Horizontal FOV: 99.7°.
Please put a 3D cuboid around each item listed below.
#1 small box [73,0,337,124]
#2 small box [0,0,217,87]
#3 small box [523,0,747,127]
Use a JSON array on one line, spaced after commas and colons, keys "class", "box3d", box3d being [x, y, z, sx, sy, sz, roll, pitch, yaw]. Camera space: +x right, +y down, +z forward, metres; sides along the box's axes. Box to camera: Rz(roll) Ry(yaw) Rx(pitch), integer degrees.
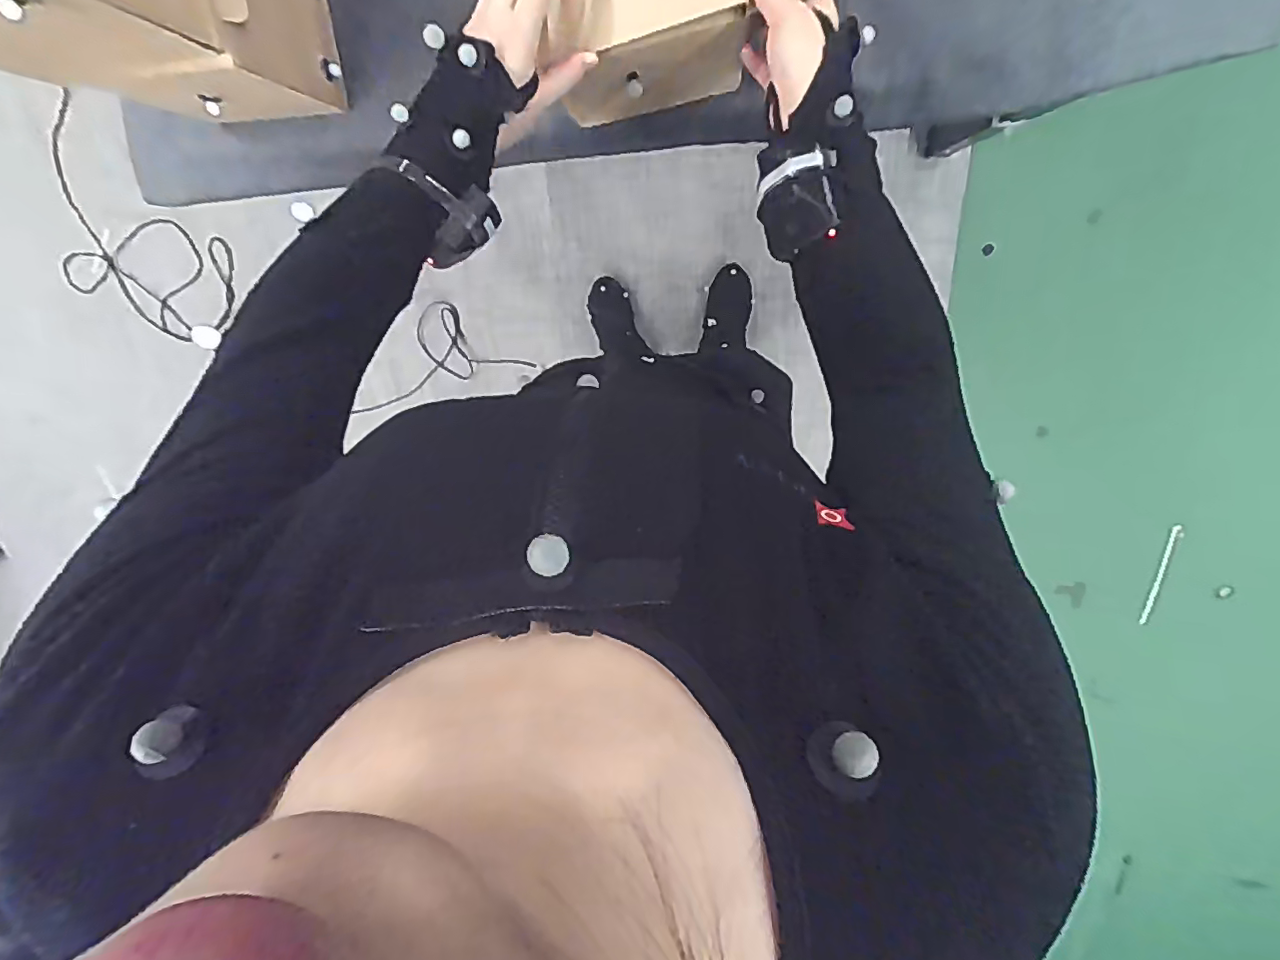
[{"class": "small box", "box3d": [-0.430, -0.465, 0.527, 0.179, 0.176, 0.168, 1, 112, 7]}, {"class": "small box", "box3d": [-0.463, -0.406, 0.379, 0.179, 0.176, 0.168, -4, 112, 8]}, {"class": "small box", "box3d": [-0.003, -0.445, 0.484, 0.179, 0.176, 0.168, -7, 109, 10]}]
